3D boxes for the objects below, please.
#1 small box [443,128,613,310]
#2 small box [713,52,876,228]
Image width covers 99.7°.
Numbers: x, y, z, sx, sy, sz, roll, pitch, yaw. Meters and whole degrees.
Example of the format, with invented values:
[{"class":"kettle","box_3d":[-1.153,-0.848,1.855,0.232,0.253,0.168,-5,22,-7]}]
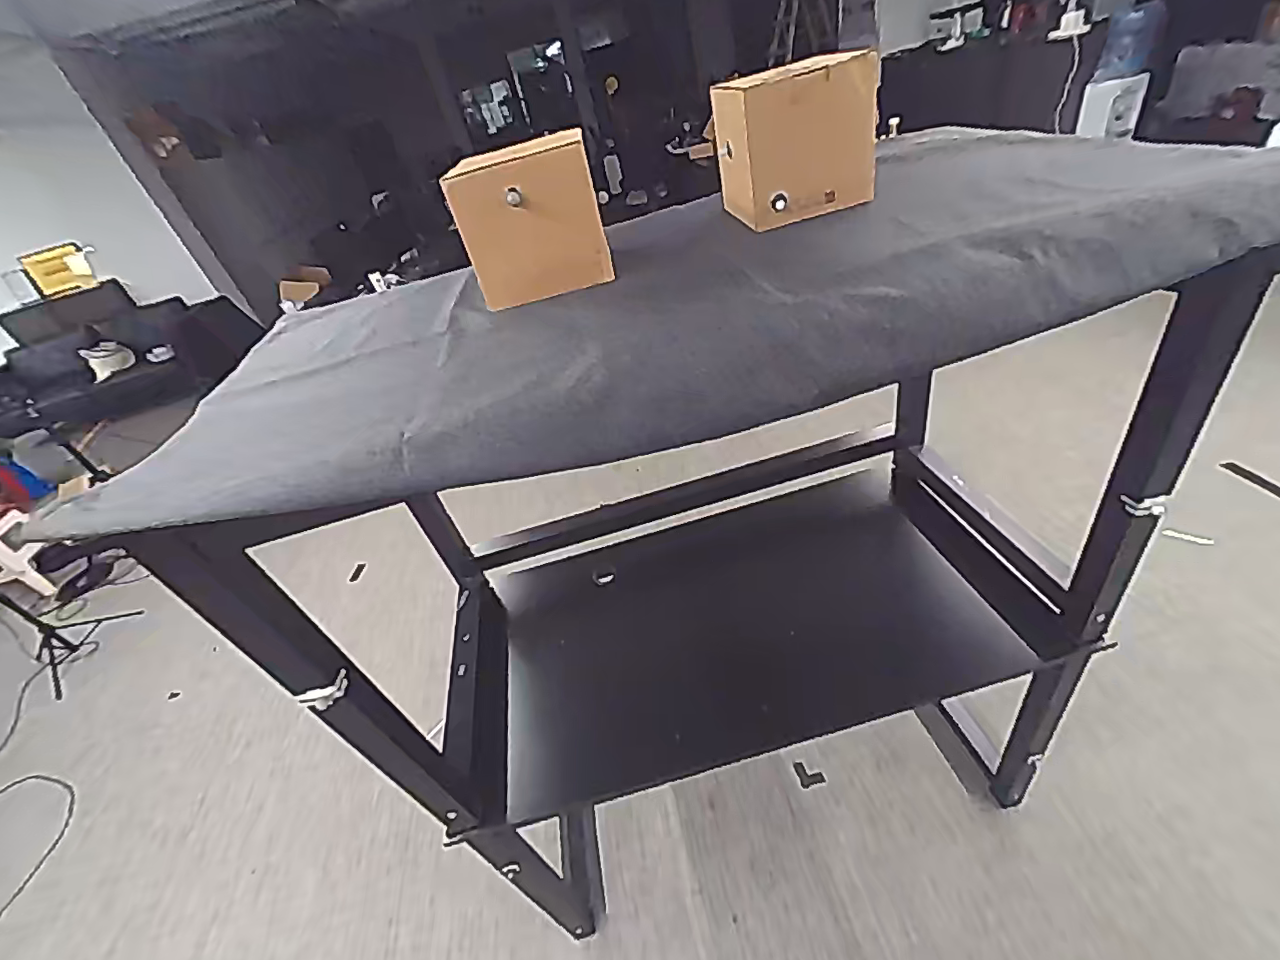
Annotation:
[{"class":"small box","box_3d":[-0.137,-0.355,0.737,0.179,0.176,0.168,-14,37,4]},{"class":"small box","box_3d":[0.211,-0.468,0.755,0.168,0.176,0.179,-14,36,2]}]
